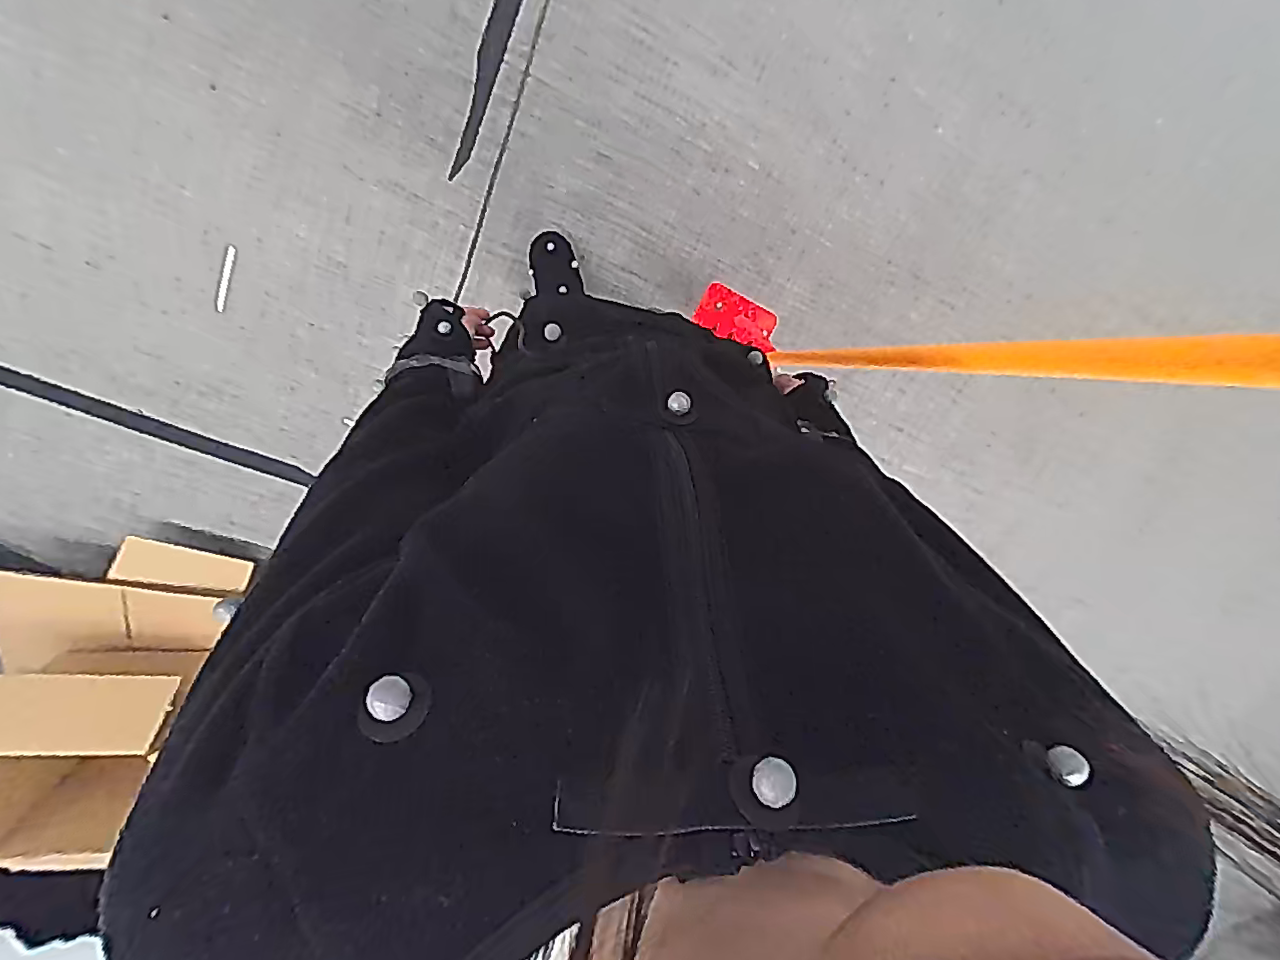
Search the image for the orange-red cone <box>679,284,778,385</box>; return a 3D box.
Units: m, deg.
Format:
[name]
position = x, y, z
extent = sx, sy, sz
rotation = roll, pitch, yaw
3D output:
[orange-red cone]
position = 0.231, -0.292, 1.179
extent = 0.198, 0.360, 0.199
rotation = 26, 108, -14
